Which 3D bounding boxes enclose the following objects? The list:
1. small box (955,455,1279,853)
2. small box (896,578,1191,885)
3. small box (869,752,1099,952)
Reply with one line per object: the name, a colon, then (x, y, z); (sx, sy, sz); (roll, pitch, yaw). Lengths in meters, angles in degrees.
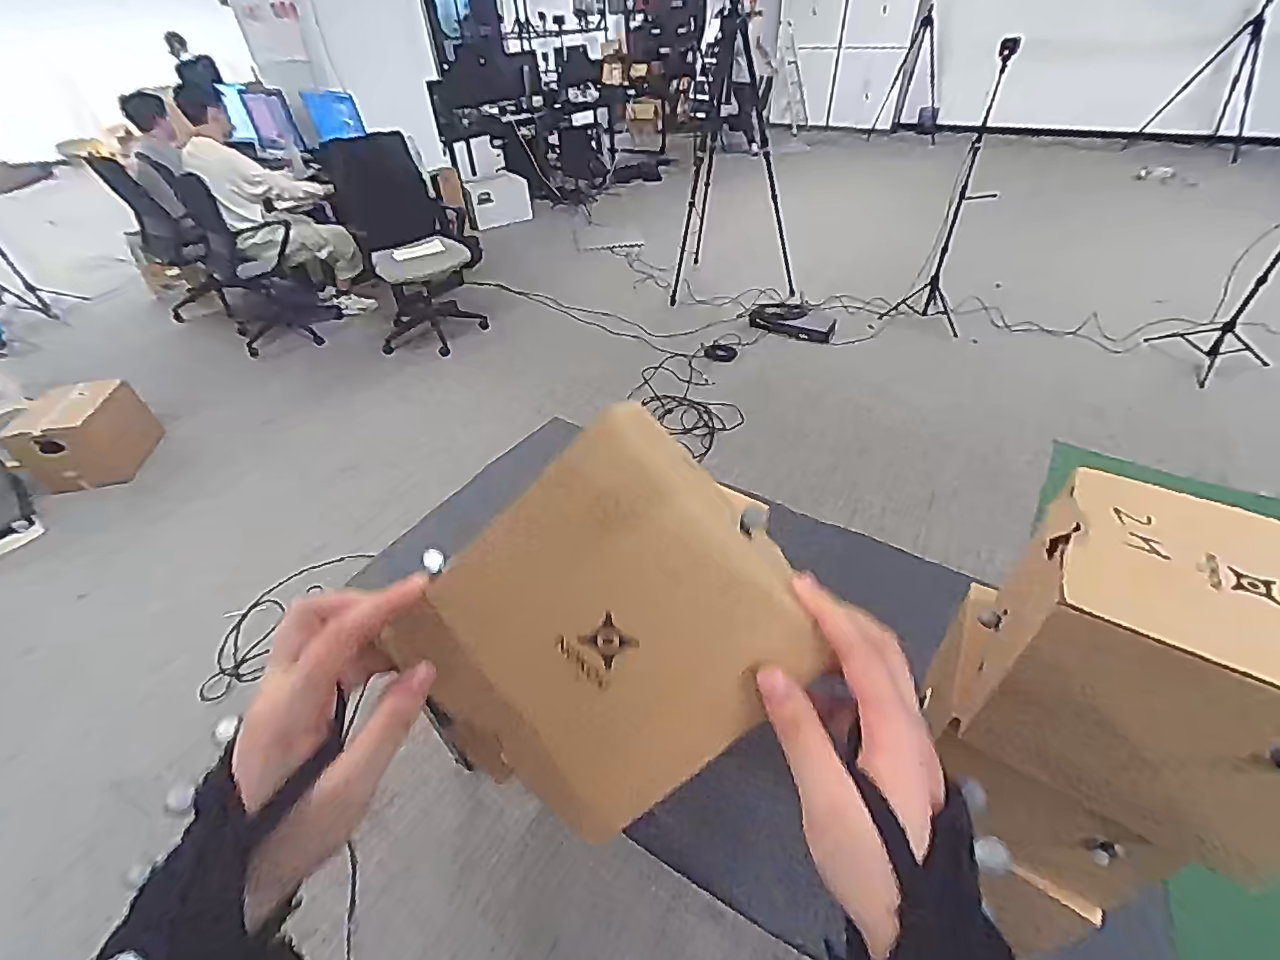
small box: (0.354, 0.115, 0.374); (0.179, 0.176, 0.168); (23, 44, 28)
small box: (0.360, 0.228, 0.497); (0.179, 0.176, 0.168); (18, 41, 25)
small box: (0.374, 0.357, 0.595); (0.168, 0.176, 0.179); (25, 47, 30)
